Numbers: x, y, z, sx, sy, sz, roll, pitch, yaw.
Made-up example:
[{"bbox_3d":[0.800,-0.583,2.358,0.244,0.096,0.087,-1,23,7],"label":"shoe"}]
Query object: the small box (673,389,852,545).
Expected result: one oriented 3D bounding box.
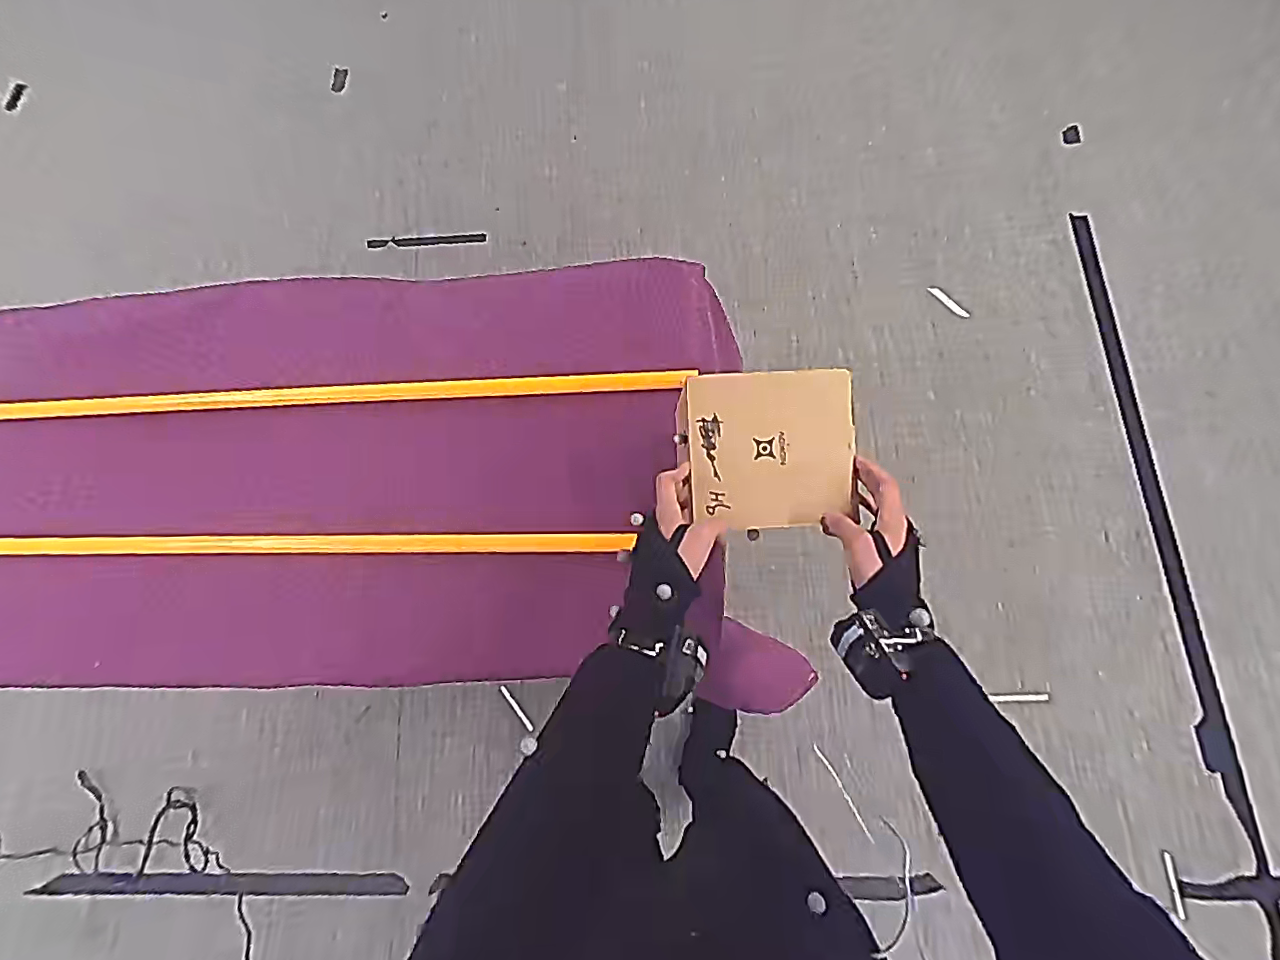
[{"bbox_3d":[0.134,-0.010,0.651,0.179,0.176,0.168,-2,86,0],"label":"small box"}]
